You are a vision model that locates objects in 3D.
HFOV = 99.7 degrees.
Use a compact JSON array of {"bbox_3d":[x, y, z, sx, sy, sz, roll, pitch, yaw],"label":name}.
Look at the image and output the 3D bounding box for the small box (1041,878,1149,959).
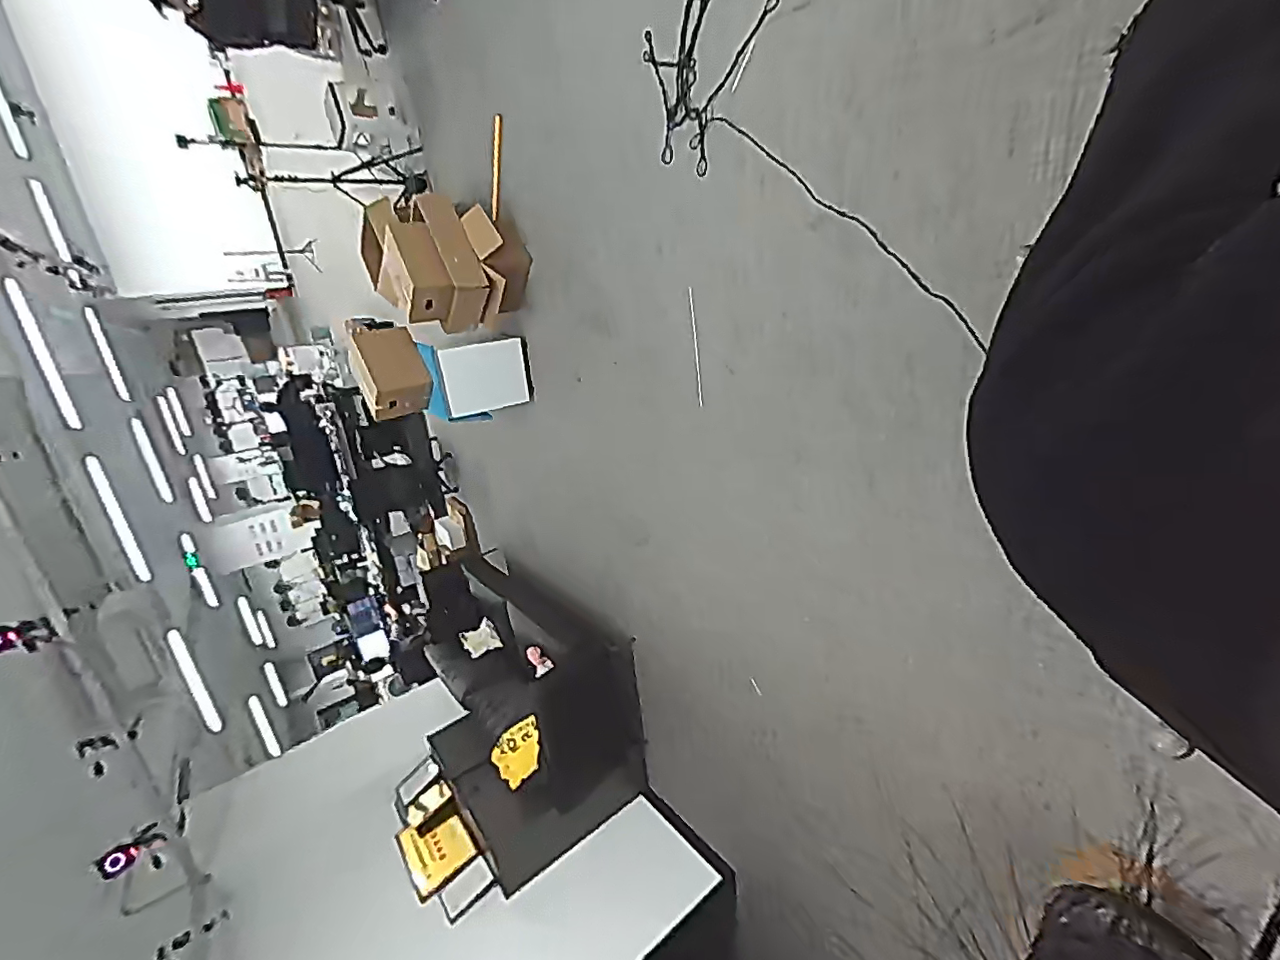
[{"bbox_3d":[1.121,1.145,1.333,0.168,0.176,0.179,14,118,52],"label":"small box"}]
